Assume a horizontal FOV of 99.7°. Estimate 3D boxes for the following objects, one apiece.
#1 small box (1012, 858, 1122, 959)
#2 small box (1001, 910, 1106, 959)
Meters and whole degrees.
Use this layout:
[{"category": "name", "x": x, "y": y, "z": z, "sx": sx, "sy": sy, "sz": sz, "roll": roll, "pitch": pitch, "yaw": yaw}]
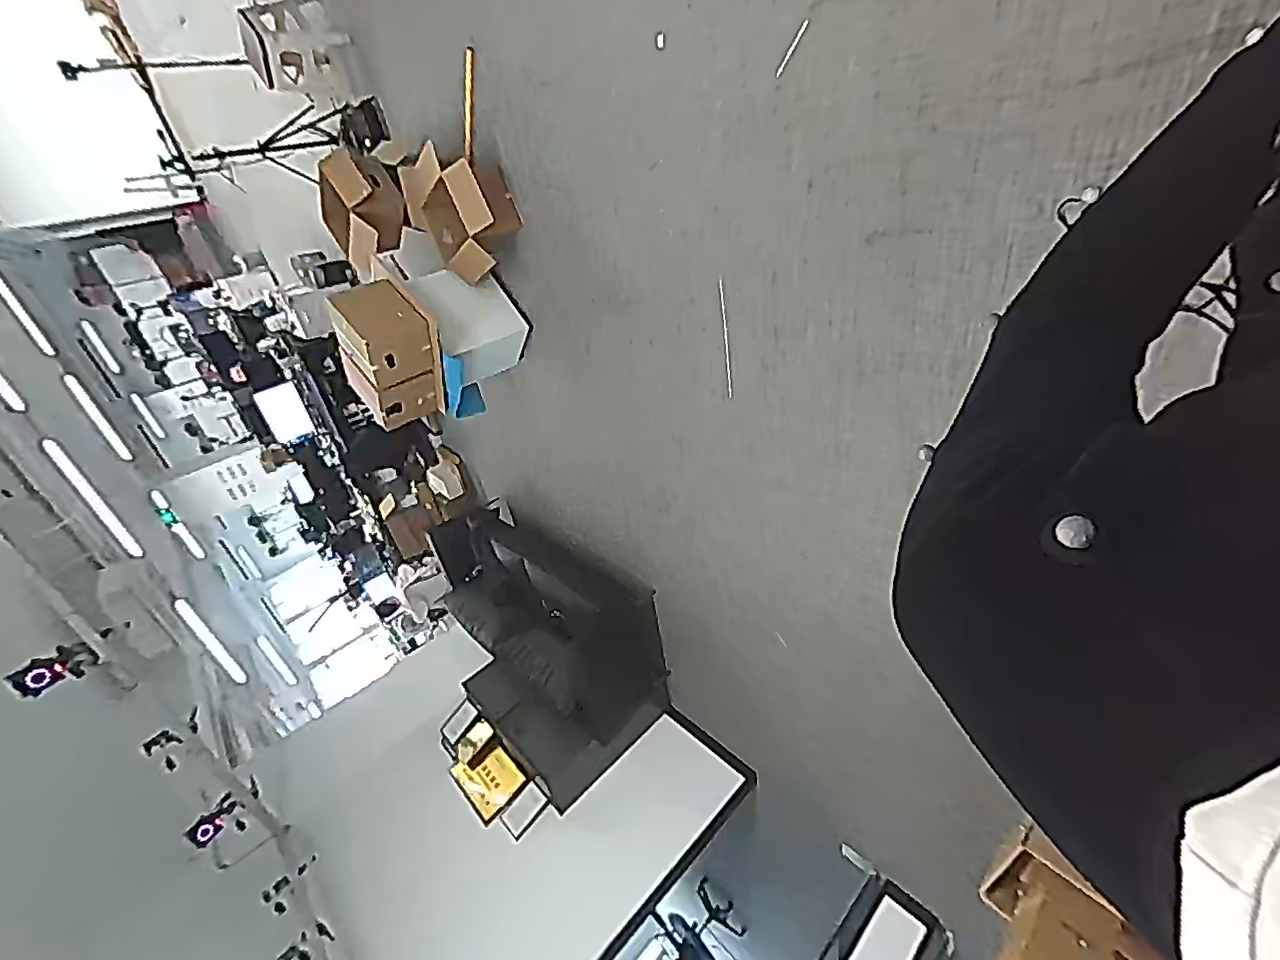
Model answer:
[{"category": "small box", "x": 1.172, "y": 1.193, "z": 1.483, "sx": 0.168, "sy": 0.176, "sz": 0.179, "roll": 32, "pitch": 139, "yaw": 34}, {"category": "small box", "x": 1.060, "y": 1.266, "z": 1.391, "sx": 0.168, "sy": 0.176, "sz": 0.179, "roll": 31, "pitch": 139, "yaw": 34}]
